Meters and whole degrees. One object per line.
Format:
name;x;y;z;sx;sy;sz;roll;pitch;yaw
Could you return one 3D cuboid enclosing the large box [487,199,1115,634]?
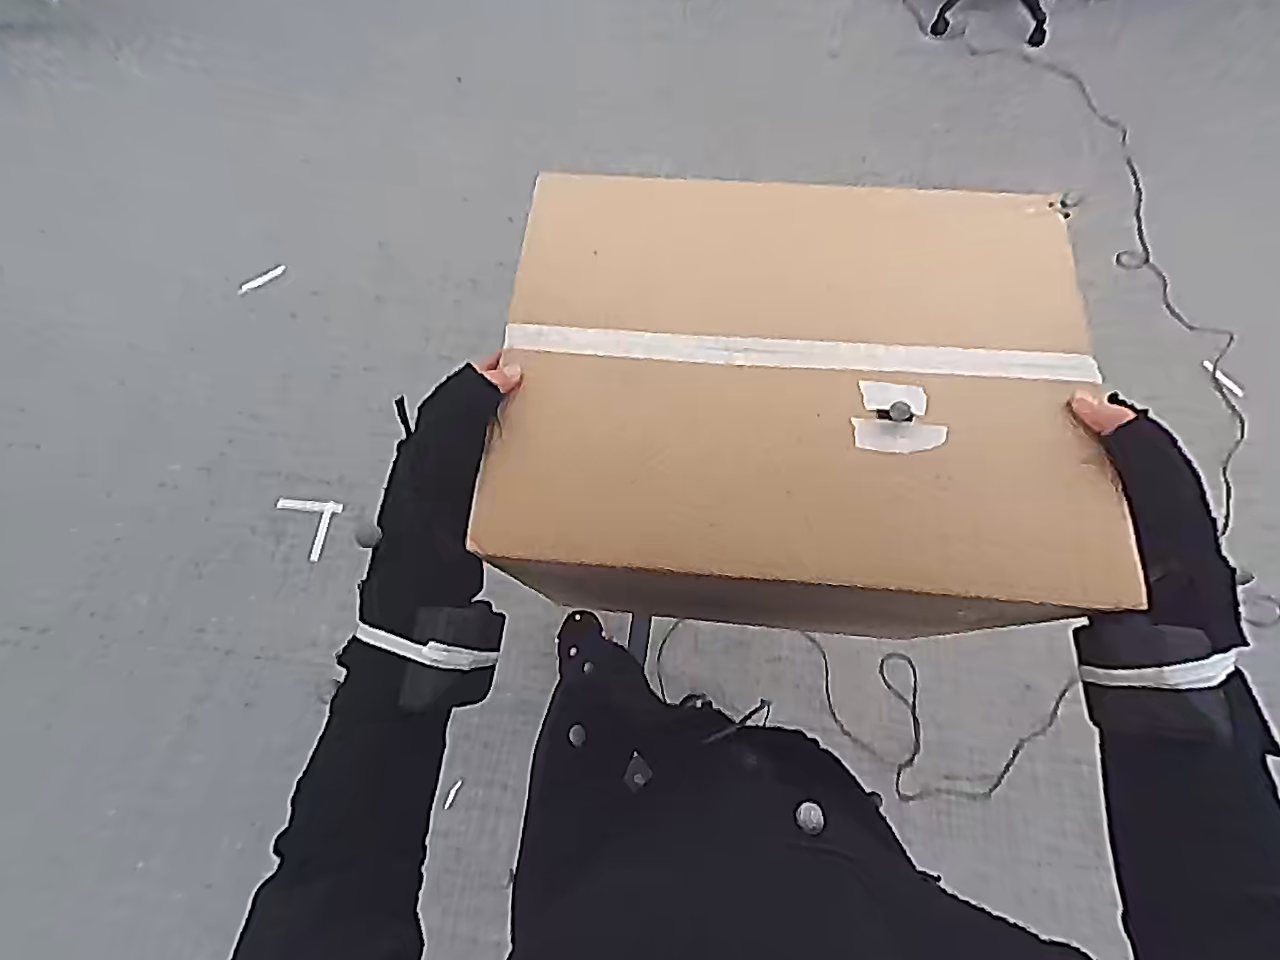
large box;0.109;-0.029;0.529;0.408;0.320;0.320;4;72;3
